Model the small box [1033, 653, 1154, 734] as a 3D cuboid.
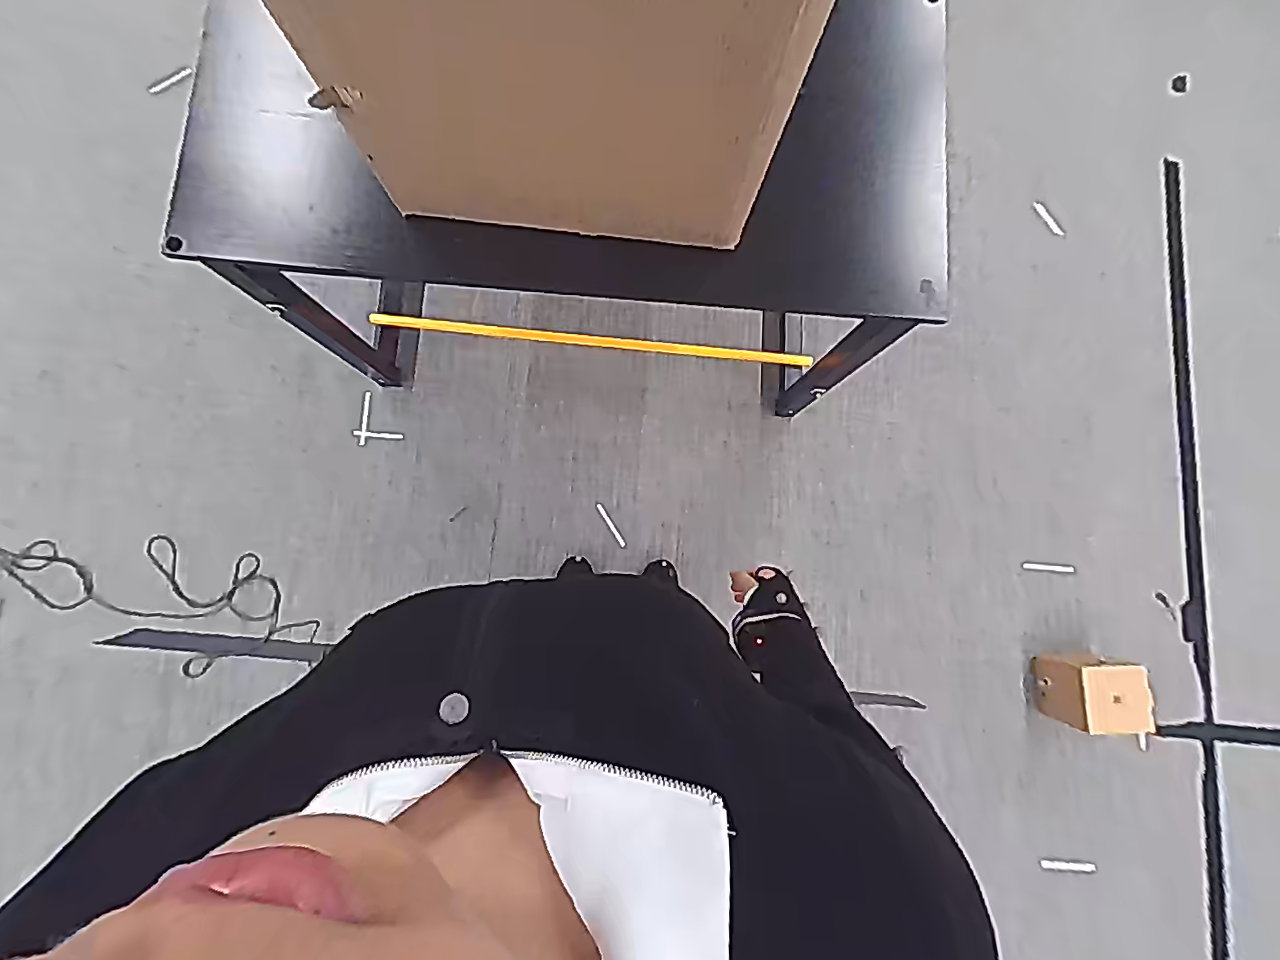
[{"bbox_3d":[1.201,0.563,1.443,0.179,0.176,0.168,-2,82,-1],"label":"small box"}]
